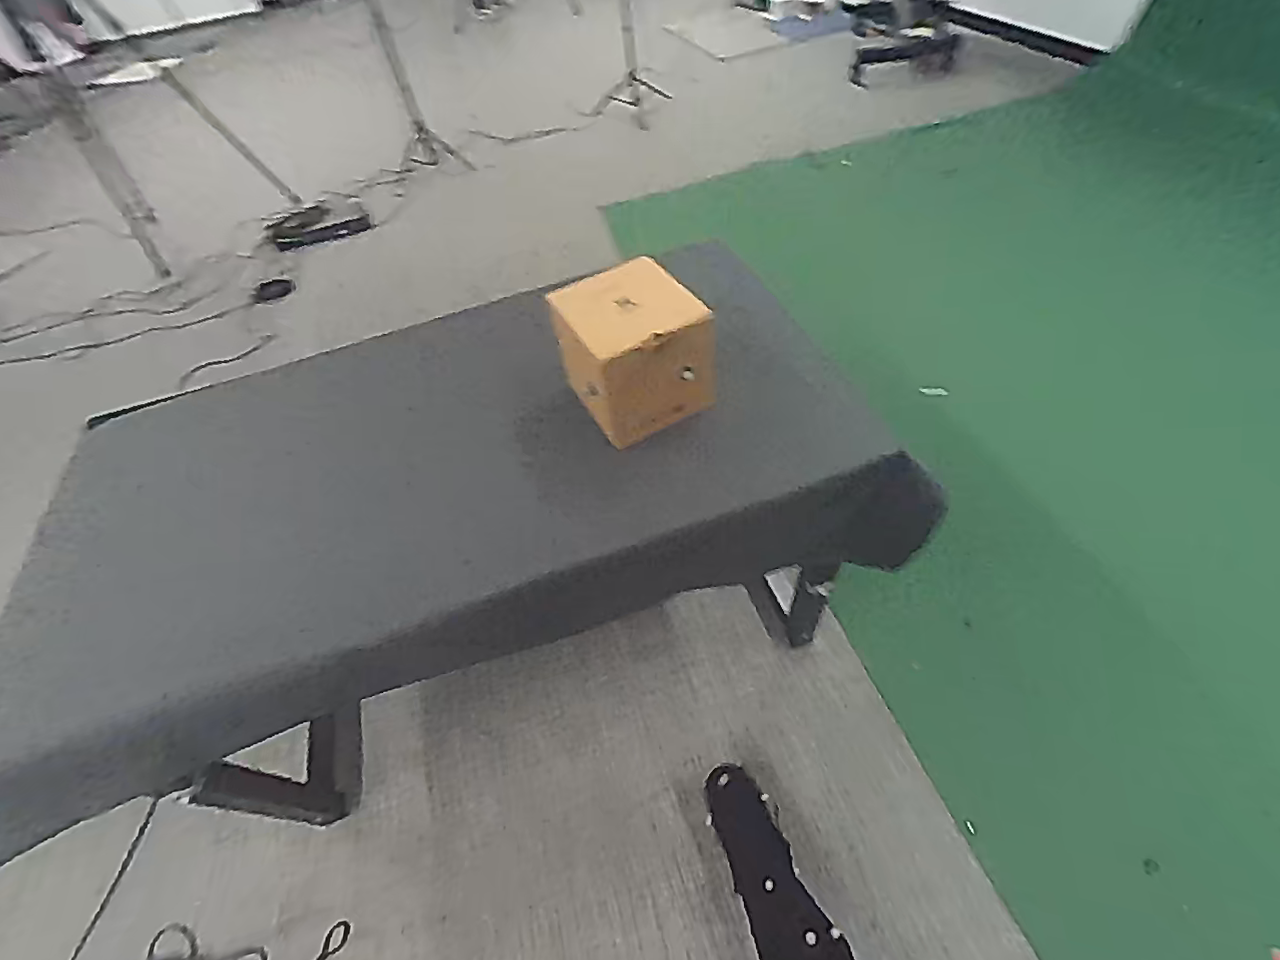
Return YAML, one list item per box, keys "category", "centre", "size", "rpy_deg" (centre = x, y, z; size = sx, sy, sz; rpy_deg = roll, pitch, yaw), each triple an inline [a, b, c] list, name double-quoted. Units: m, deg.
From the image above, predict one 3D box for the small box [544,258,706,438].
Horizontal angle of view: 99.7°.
- category: "small box"
  centre: [-0.015, -0.184, 0.783]
  size: [0.168, 0.176, 0.179]
  rpy_deg: [-27, 53, -14]
